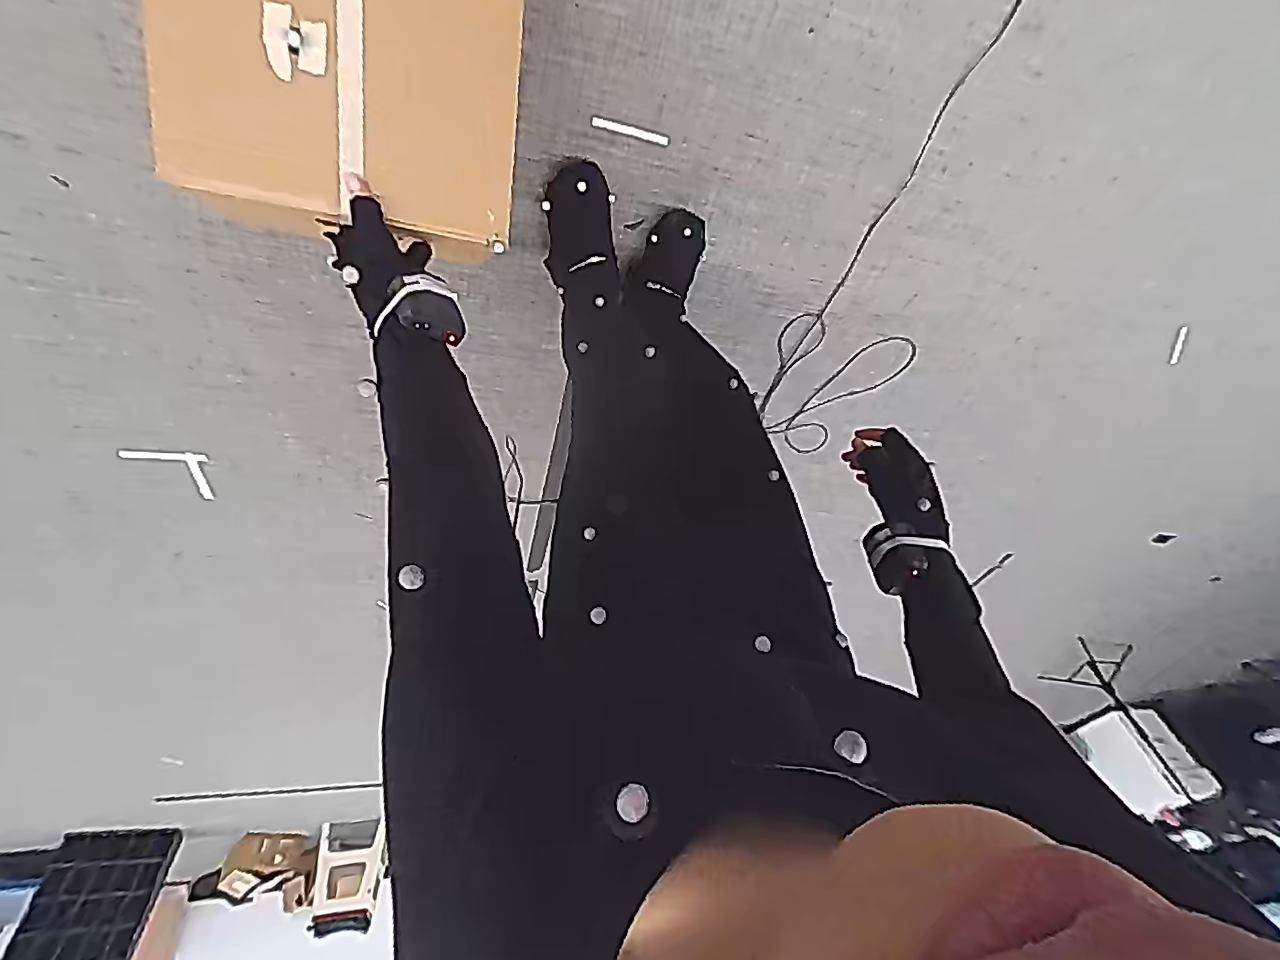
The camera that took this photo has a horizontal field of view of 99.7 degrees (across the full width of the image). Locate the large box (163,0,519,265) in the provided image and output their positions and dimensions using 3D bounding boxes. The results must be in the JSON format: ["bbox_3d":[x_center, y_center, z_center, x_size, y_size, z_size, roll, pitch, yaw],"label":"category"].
[{"bbox_3d":[-0.332,-0.505,0.660,0.320,0.320,0.408,2,107,-22],"label":"large box"}]
